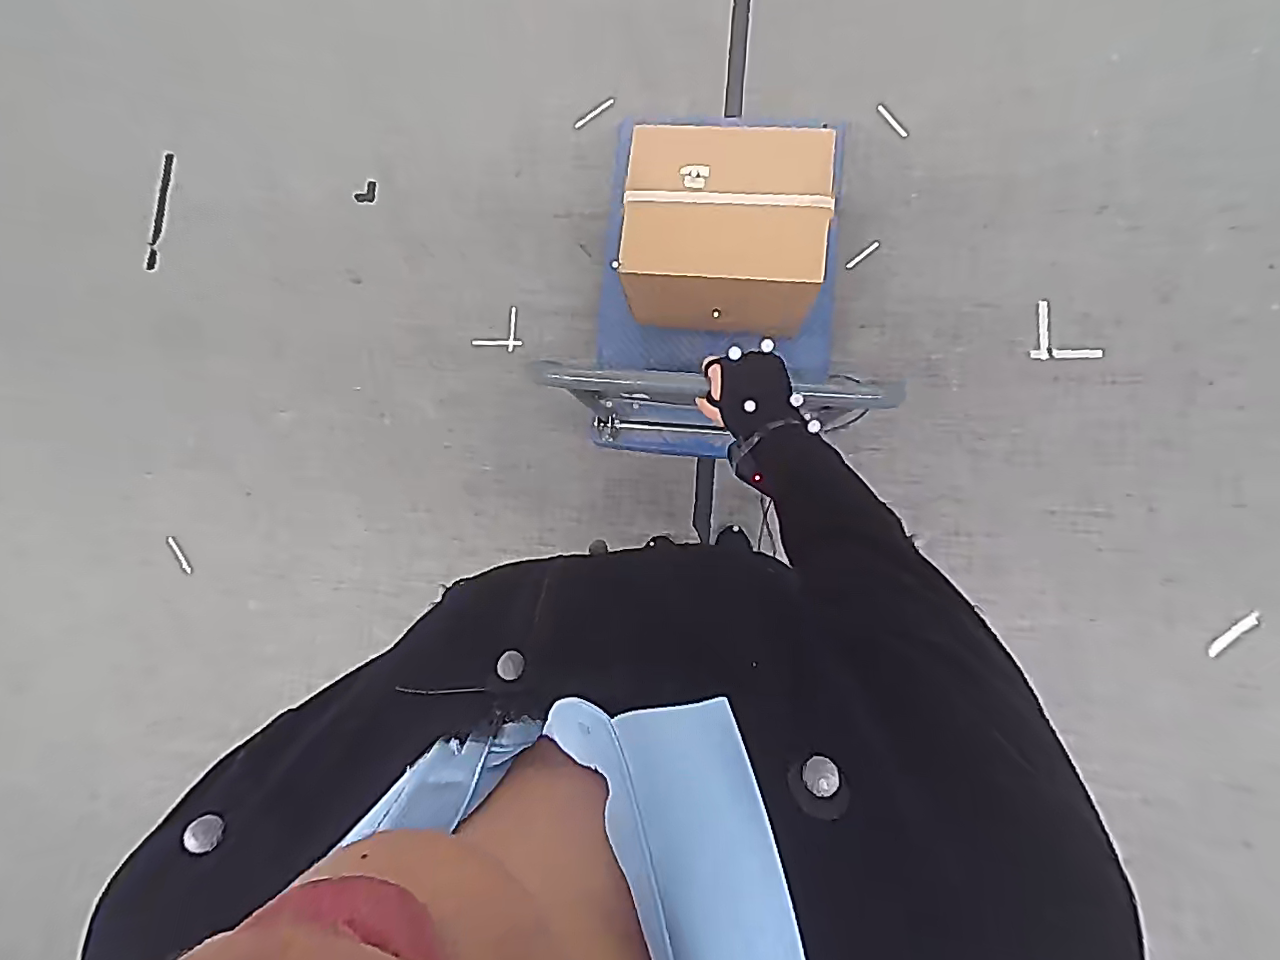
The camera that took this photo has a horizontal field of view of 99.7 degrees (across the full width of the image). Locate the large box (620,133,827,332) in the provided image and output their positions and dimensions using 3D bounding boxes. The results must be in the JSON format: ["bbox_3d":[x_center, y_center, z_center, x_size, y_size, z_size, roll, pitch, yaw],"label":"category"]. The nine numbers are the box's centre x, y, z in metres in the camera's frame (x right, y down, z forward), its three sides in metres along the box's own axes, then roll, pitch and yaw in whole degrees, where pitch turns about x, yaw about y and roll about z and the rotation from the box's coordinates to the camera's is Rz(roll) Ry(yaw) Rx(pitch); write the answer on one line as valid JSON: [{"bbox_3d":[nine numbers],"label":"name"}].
[{"bbox_3d":[0.187,-0.540,1.235,0.408,0.320,0.320,5,85,8],"label":"large box"}]
